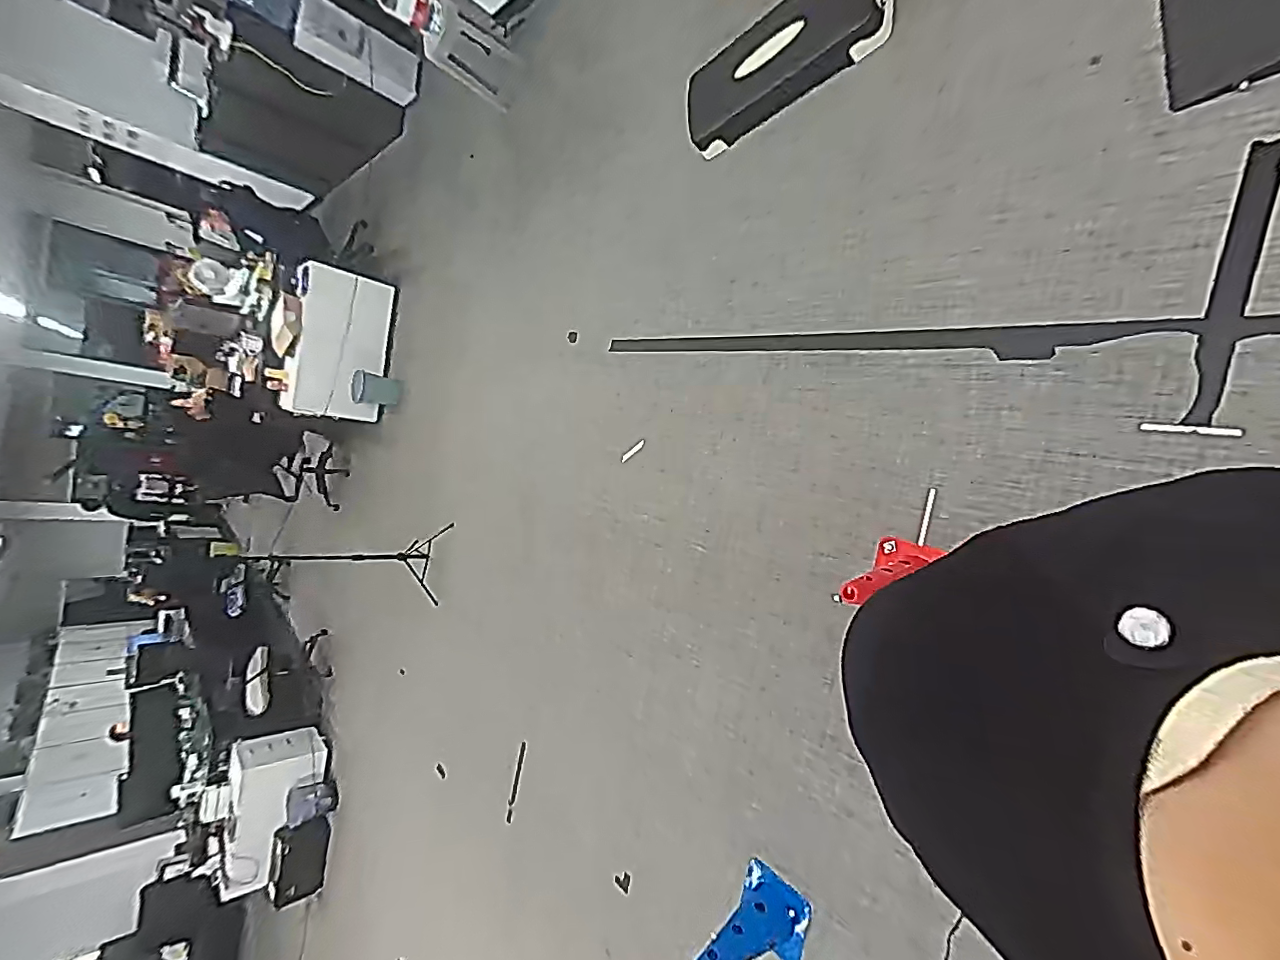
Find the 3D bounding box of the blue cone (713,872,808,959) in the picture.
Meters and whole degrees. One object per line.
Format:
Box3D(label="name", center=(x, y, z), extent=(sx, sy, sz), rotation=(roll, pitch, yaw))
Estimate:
Box3D(label="blue cone", center=(0.257, 1.216, 1.400), extent=(0.193, 0.380, 0.192), rotation=(19, 99, 46))
